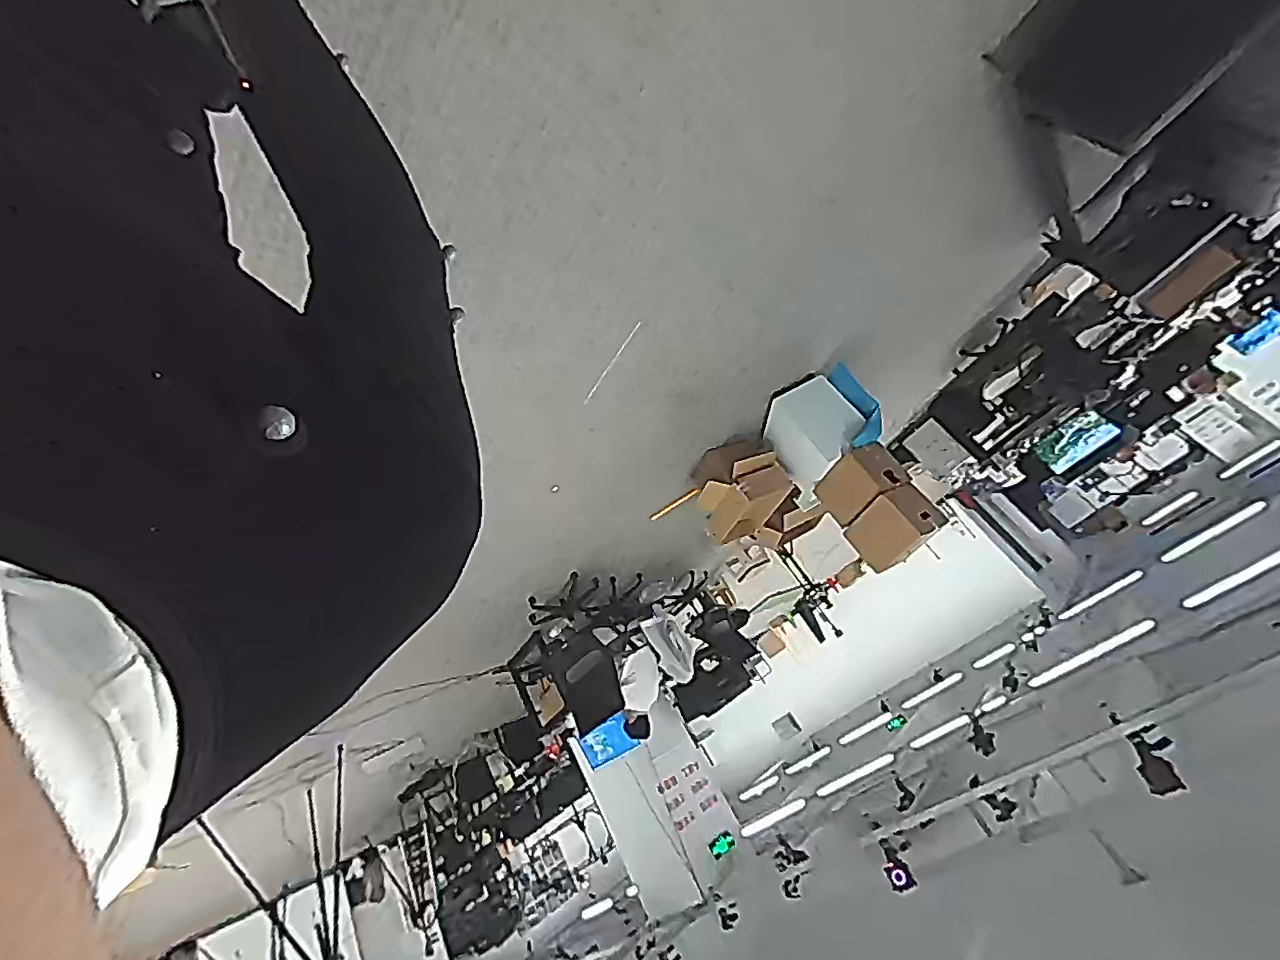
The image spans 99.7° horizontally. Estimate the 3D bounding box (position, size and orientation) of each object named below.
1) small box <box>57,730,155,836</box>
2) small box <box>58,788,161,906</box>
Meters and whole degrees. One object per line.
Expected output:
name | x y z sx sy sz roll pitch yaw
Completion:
small box | -1.438 0.809 1.455 0.179 0.176 0.168 1 139 -48
small box | -1.358 0.930 1.382 0.179 0.176 0.168 0 139 -48
